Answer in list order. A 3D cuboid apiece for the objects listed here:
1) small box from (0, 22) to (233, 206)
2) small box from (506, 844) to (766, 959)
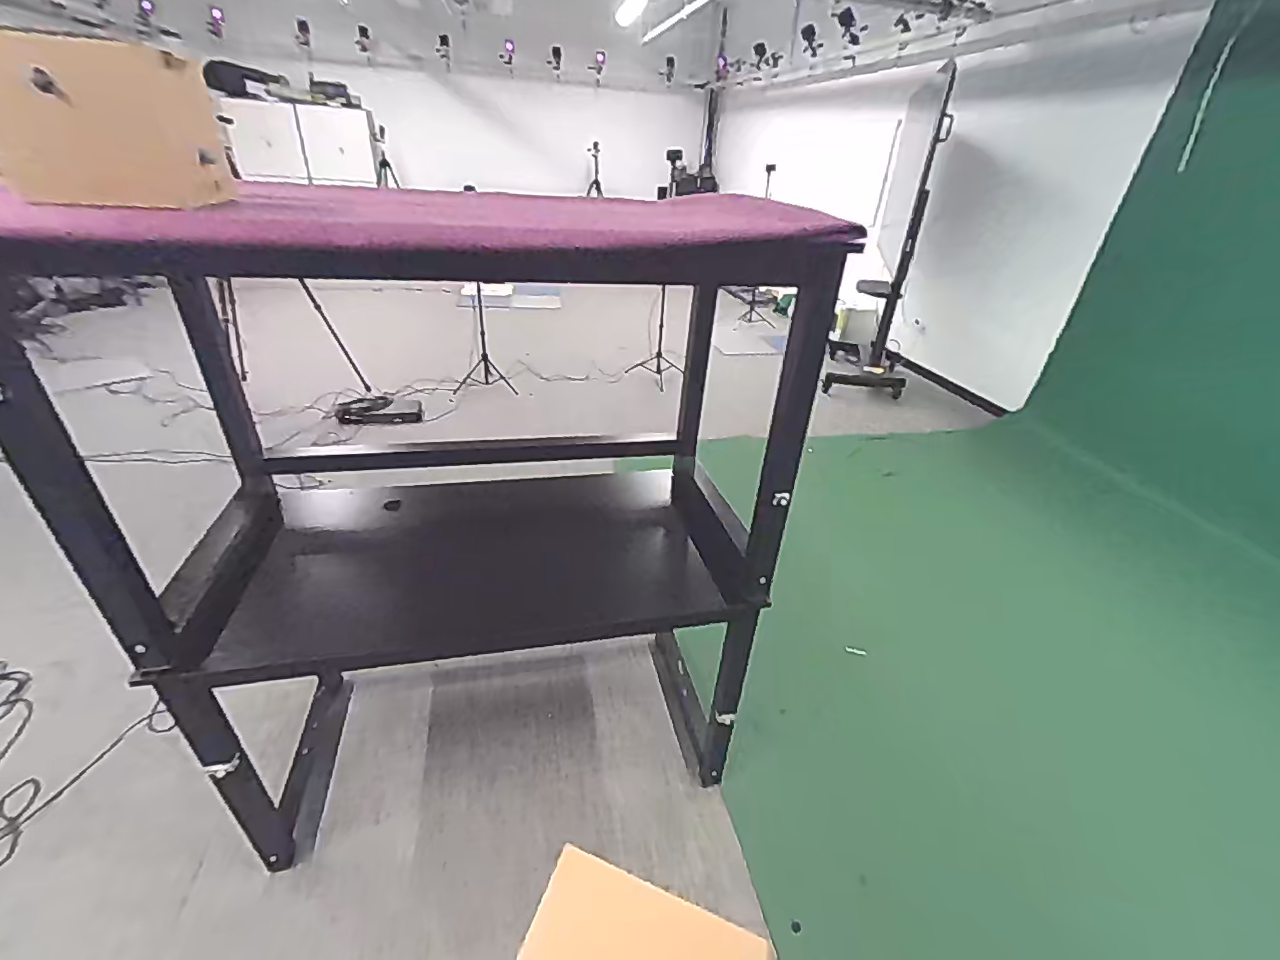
[{"bbox_3d":[-0.656,-0.441,0.669,0.179,0.176,0.168,-4,33,-13],"label":"small box"},{"bbox_3d":[-0.022,0.426,0.406,0.179,0.176,0.168,17,38,12],"label":"small box"}]
